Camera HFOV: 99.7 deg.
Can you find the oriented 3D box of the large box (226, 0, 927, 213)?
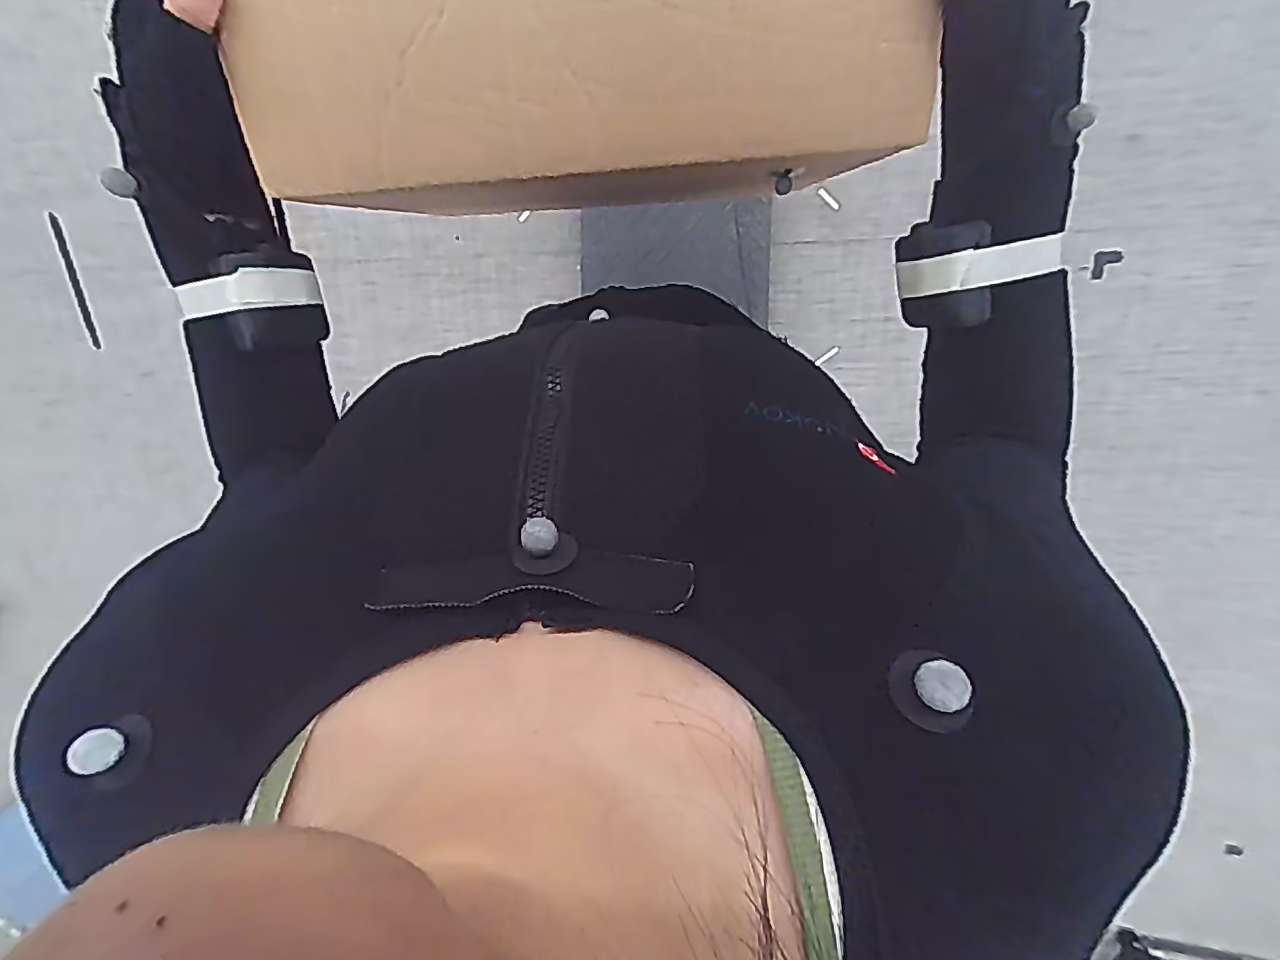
[{"bbox_3d":[-0.037,-0.395,0.415,0.408,0.320,0.320,-3,113,4],"label":"large box"}]
